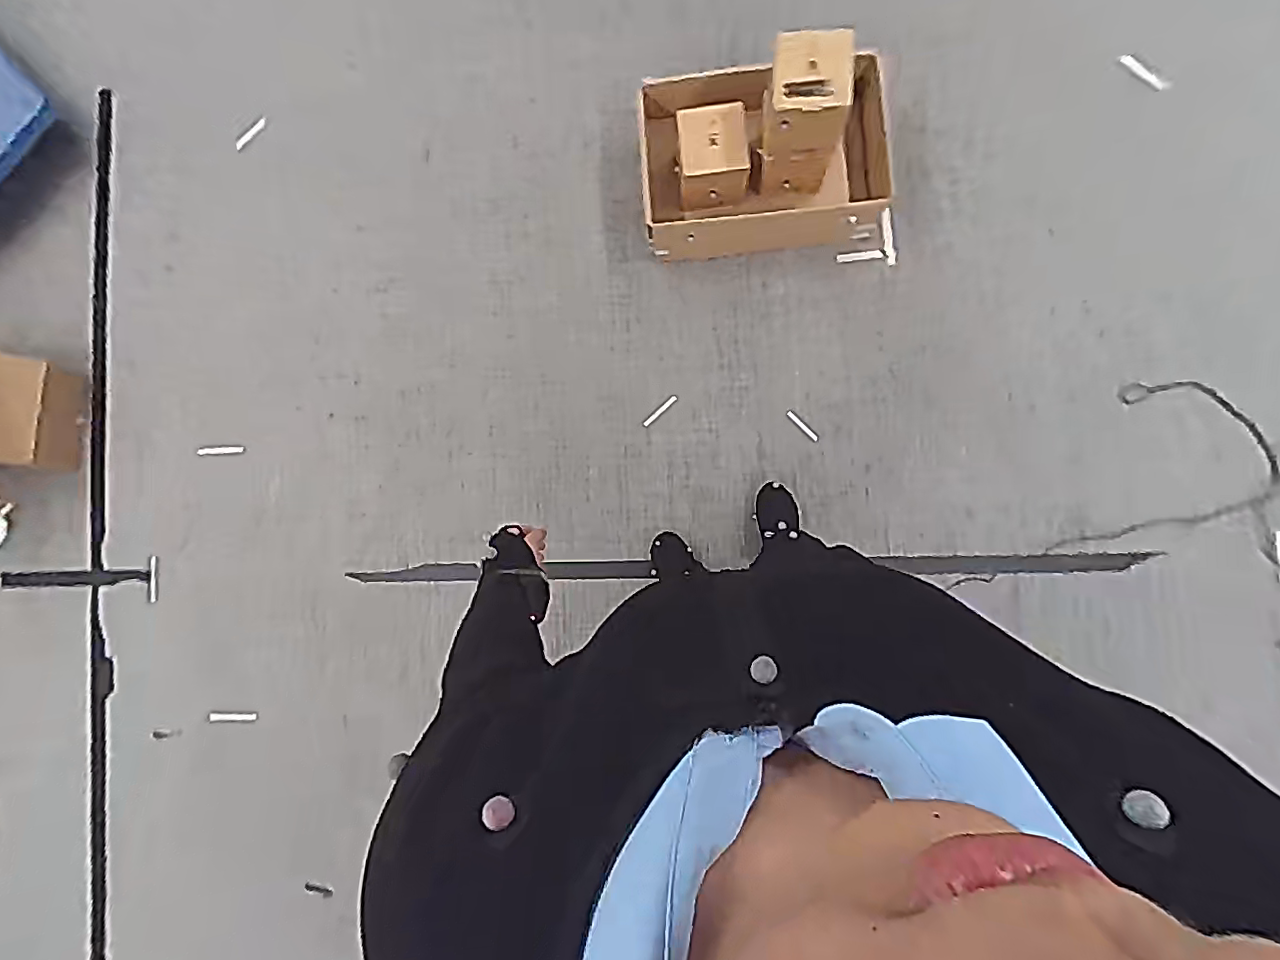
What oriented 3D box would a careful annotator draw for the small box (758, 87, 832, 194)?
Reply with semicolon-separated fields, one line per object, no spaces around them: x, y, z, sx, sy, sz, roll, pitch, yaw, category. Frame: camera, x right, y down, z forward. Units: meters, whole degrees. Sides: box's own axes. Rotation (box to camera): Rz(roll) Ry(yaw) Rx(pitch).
0.398;-0.880;1.414;0.168;0.176;0.179;1;88;8;small box

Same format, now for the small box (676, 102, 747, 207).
0.185;-0.847;1.429;0.168;0.176;0.179;-6;87;2;small box
